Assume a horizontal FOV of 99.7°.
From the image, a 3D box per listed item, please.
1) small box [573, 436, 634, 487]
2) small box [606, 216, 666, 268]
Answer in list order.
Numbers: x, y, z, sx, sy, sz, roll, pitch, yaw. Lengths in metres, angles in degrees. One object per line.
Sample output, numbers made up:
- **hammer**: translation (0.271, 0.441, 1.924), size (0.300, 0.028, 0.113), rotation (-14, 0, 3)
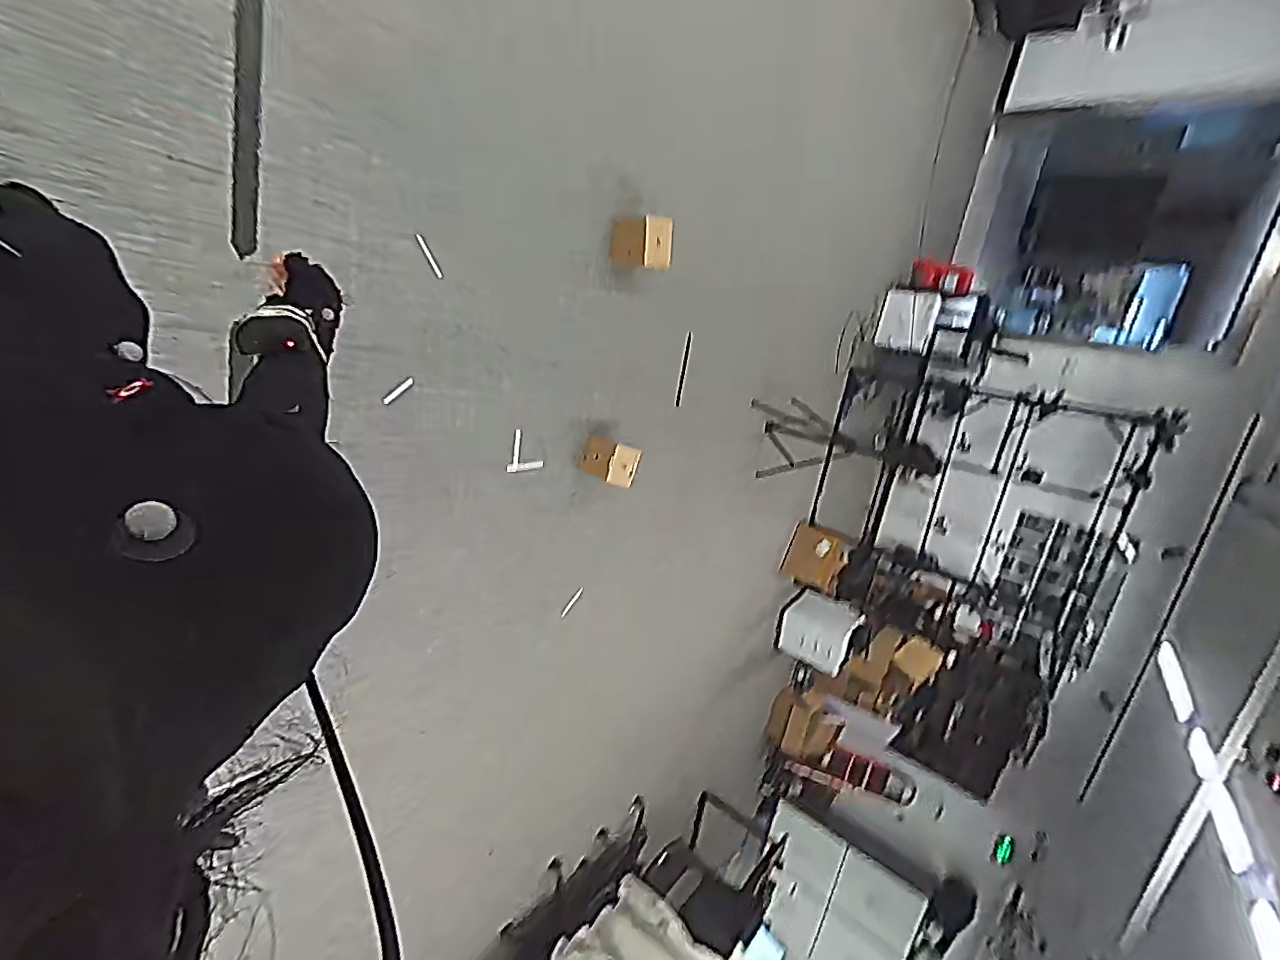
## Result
- **small box**: translation (-0.158, -0.080, 2.304), size (0.179, 0.176, 0.168), rotation (16, 94, -54)
- **small box**: translation (-0.019, -0.915, 2.081), size (0.168, 0.176, 0.179), rotation (-24, 124, -47)
